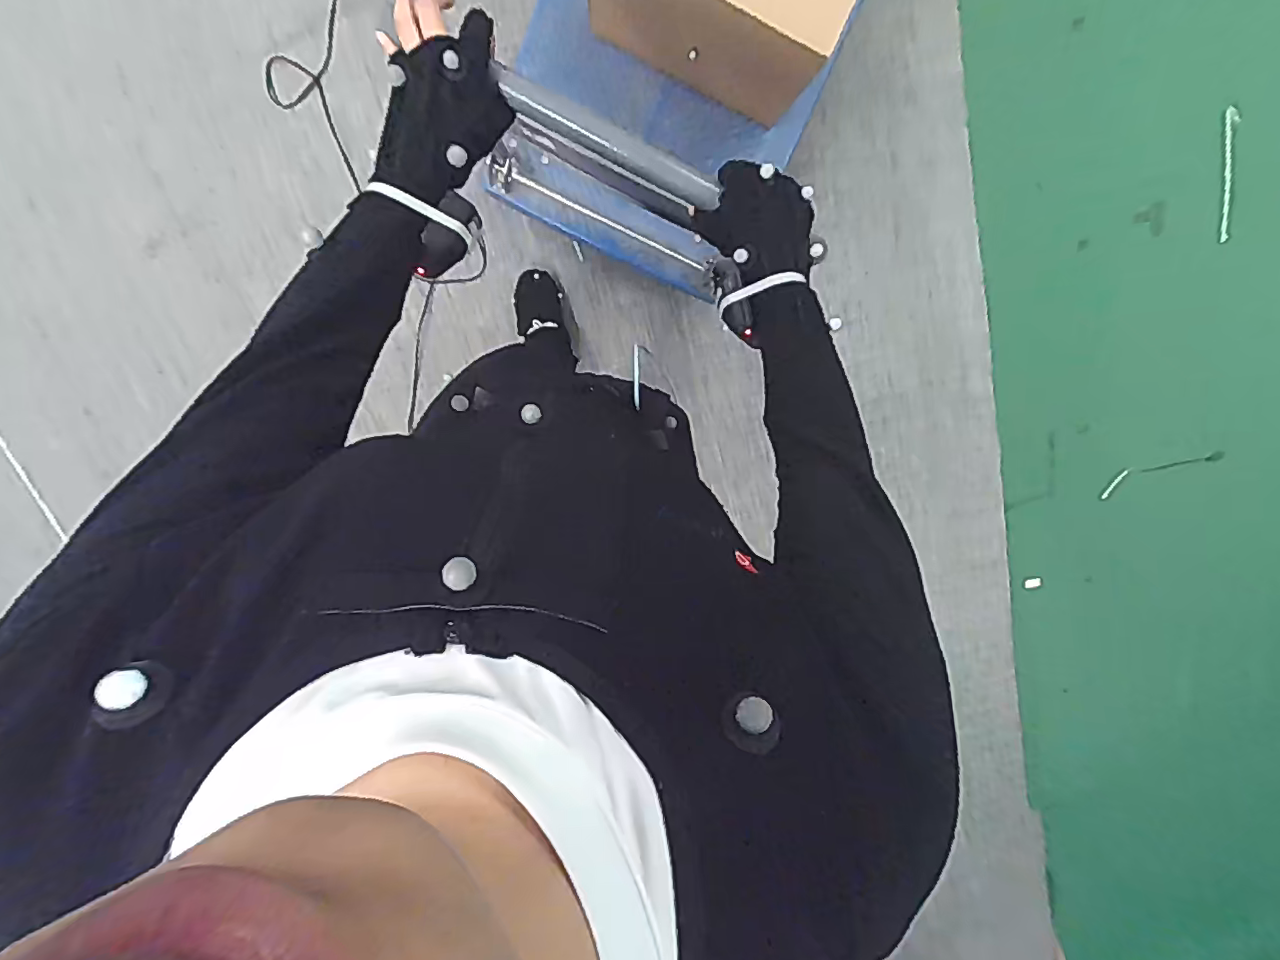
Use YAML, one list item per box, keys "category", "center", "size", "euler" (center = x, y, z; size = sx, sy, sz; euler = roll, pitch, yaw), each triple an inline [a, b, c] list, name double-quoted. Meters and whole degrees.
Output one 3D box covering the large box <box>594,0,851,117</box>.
- category: "large box"
  center: [0.159, -0.905, 0.912]
  size: [0.408, 0.320, 0.320]
  euler: [22, 103, -9]
